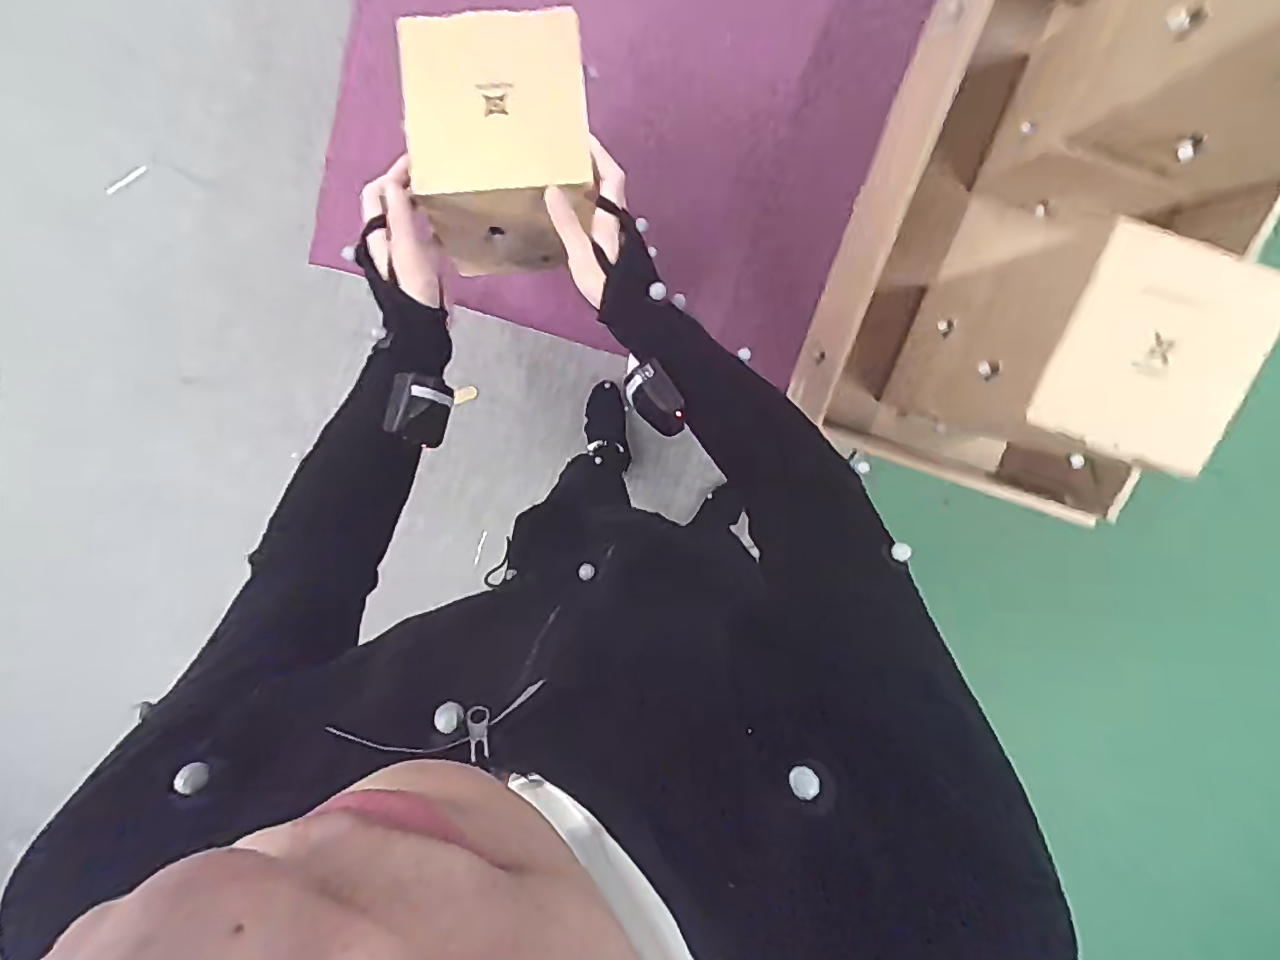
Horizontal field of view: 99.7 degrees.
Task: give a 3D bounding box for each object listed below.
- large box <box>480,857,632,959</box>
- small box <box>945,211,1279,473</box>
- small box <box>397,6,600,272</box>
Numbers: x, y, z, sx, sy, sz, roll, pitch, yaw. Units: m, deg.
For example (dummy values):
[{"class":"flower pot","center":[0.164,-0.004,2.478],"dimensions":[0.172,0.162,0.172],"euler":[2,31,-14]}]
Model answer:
[{"class":"large box","center":[-0.259,1.534,1.782],"dimensions":[0.408,0.320,0.320],"euler":[-14,102,3]},{"class":"small box","center":[0.439,-0.126,0.531],"dimensions":[0.168,0.176,0.179],"euler":[19,101,-1]},{"class":"small box","center":[-0.133,-0.335,0.568],"dimensions":[0.168,0.176,0.179],"euler":[-7,86,-3]}]
